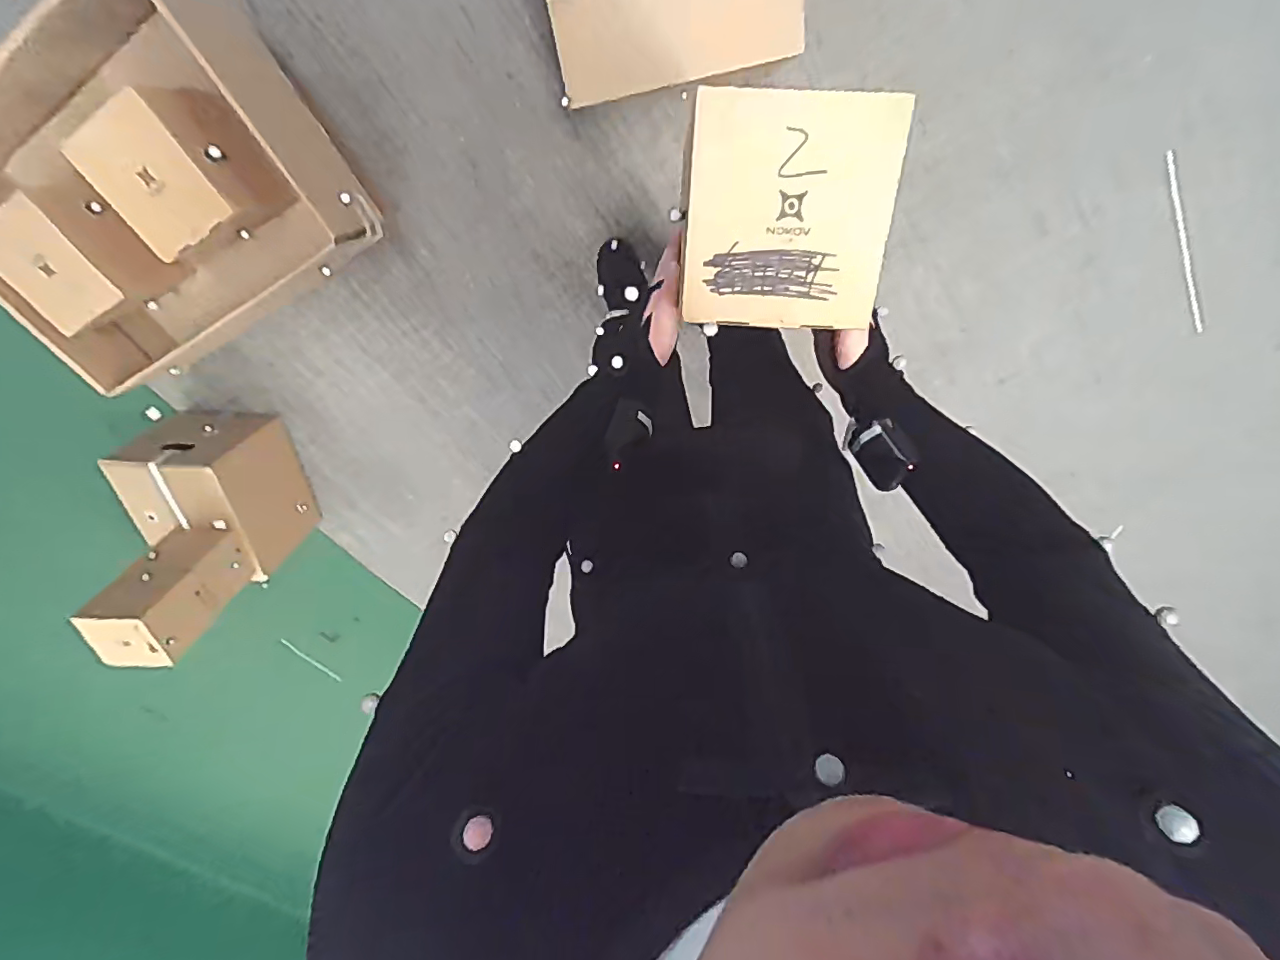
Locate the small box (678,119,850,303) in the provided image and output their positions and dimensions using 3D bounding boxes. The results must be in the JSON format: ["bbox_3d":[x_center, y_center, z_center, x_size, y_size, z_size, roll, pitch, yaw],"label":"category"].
[{"bbox_3d":[0.135,-0.320,0.661,0.168,0.176,0.179,3,113,1],"label":"small box"}]

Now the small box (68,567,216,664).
[{"bbox_3d":[-1.217,0.330,1.337,0.179,0.176,0.168,1,124,2],"label":"small box"}]

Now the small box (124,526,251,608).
[{"bbox_3d":[-1.220,0.239,1.474,0.179,0.176,0.168,1,124,1],"label":"small box"}]

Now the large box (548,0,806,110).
[{"bbox_3d":[0.057,-0.879,0.947,0.408,0.320,0.320,-7,123,9],"label":"large box"}]

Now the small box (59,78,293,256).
[{"bbox_3d":[-0.698,-0.480,0.837,0.168,0.176,0.179,-21,121,17],"label":"small box"}]
